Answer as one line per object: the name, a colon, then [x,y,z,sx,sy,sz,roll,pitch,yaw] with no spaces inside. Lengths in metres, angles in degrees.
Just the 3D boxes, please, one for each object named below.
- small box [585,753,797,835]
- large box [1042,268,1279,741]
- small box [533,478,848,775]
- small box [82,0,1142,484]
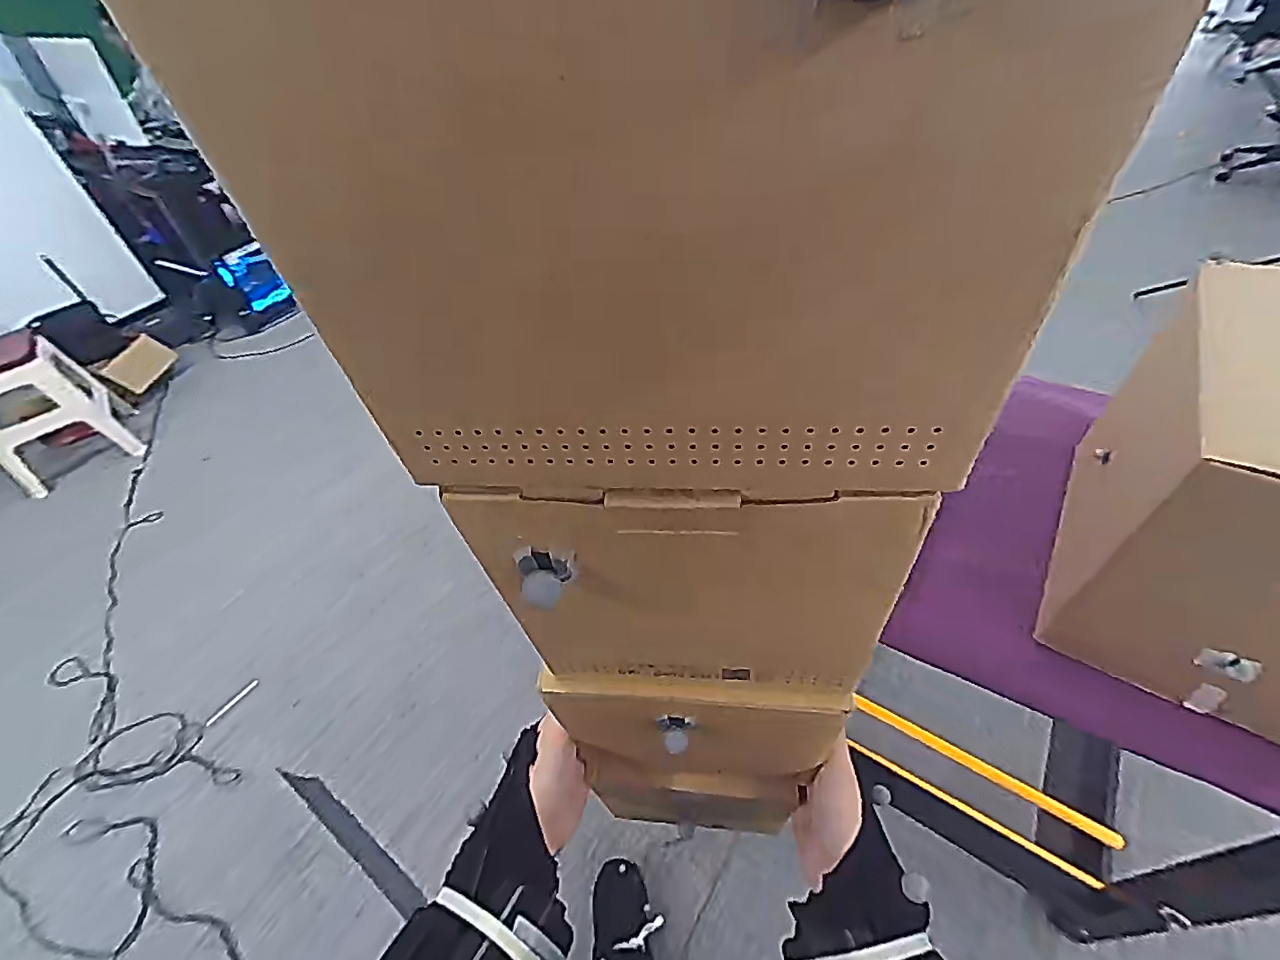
small box: [0.055,0.222,0.524,0.168,0.176,0.179,0,50,9]
large box: [0.697,0.021,0.589,0.320,0.320,0.408,23,52,25]
small box: [0.041,0.110,0.406,0.179,0.176,0.168,-1,50,9]
small box: [0.004,-0.111,0.164,0.179,0.176,0.168,0,49,10]
